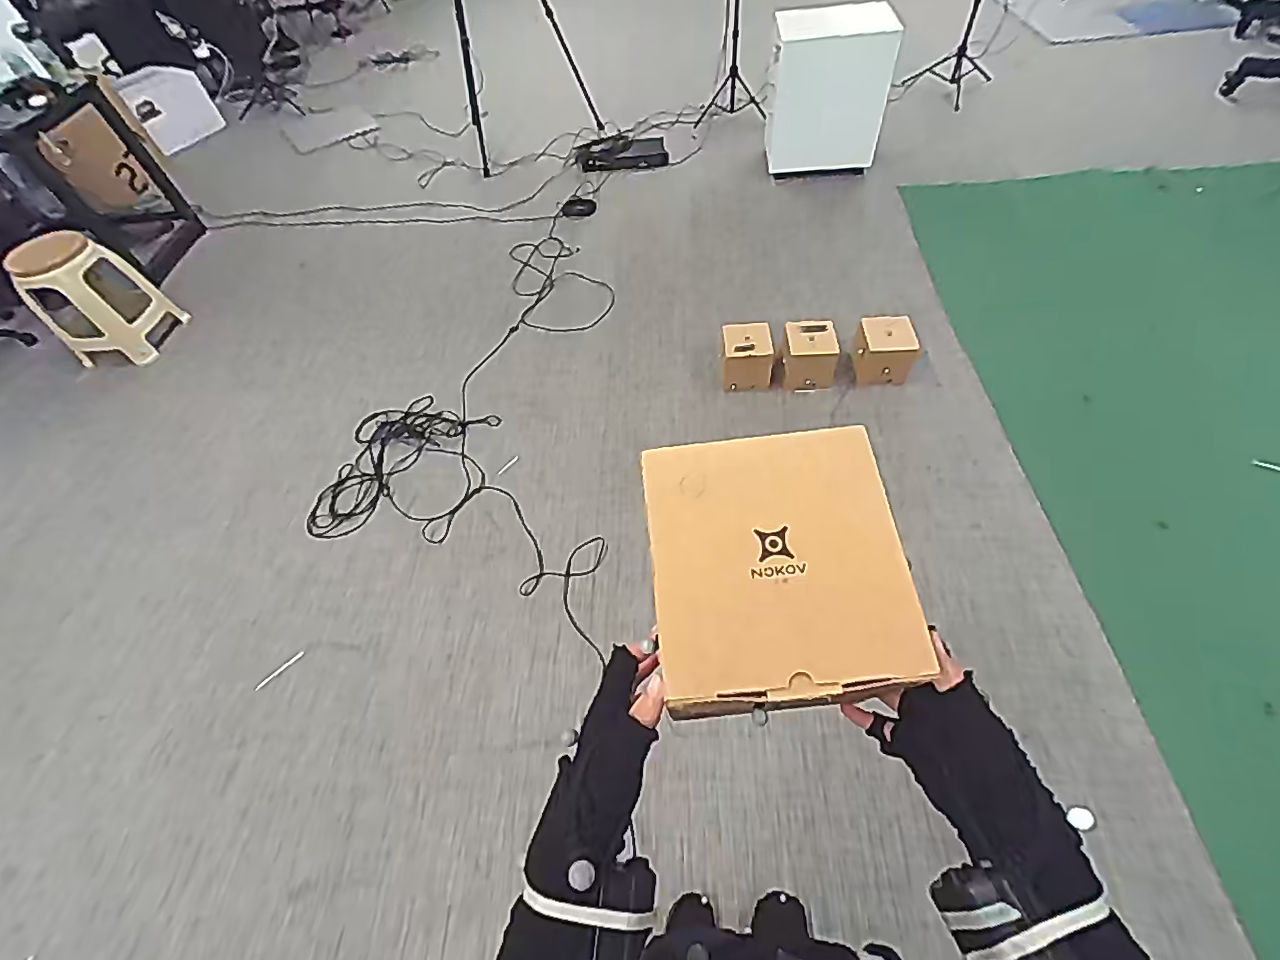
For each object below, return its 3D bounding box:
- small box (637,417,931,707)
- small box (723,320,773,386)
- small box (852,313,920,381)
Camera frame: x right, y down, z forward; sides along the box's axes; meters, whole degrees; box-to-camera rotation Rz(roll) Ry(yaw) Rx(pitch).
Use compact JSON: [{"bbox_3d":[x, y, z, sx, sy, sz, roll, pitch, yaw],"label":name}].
[{"bbox_3d":[0.089,0.074,0.427,0.168,0.176,0.179,-7,64,2],"label":"small box"},{"bbox_3d":[0.390,-0.456,1.968,0.168,0.176,0.179,-3,54,6],"label":"small box"},{"bbox_3d":[0.868,-0.468,1.924,0.168,0.176,0.179,-1,55,5],"label":"small box"}]
